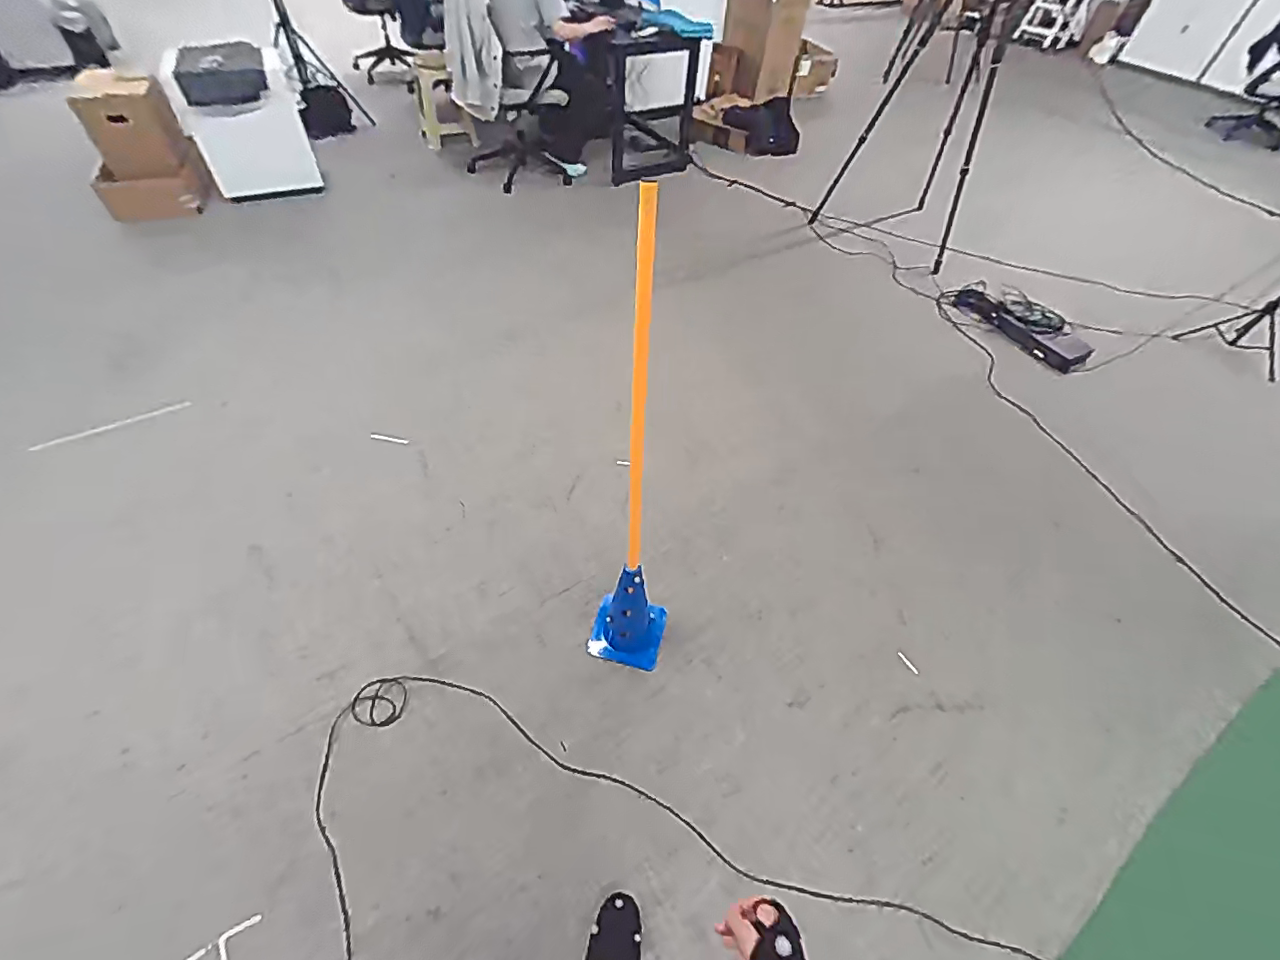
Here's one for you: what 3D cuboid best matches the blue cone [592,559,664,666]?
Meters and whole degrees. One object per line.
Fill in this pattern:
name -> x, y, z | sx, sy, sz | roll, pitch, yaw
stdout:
blue cone -> -0.026, 0.323, 1.425 | 0.192, 0.380, 0.193 | 11, 49, 6
